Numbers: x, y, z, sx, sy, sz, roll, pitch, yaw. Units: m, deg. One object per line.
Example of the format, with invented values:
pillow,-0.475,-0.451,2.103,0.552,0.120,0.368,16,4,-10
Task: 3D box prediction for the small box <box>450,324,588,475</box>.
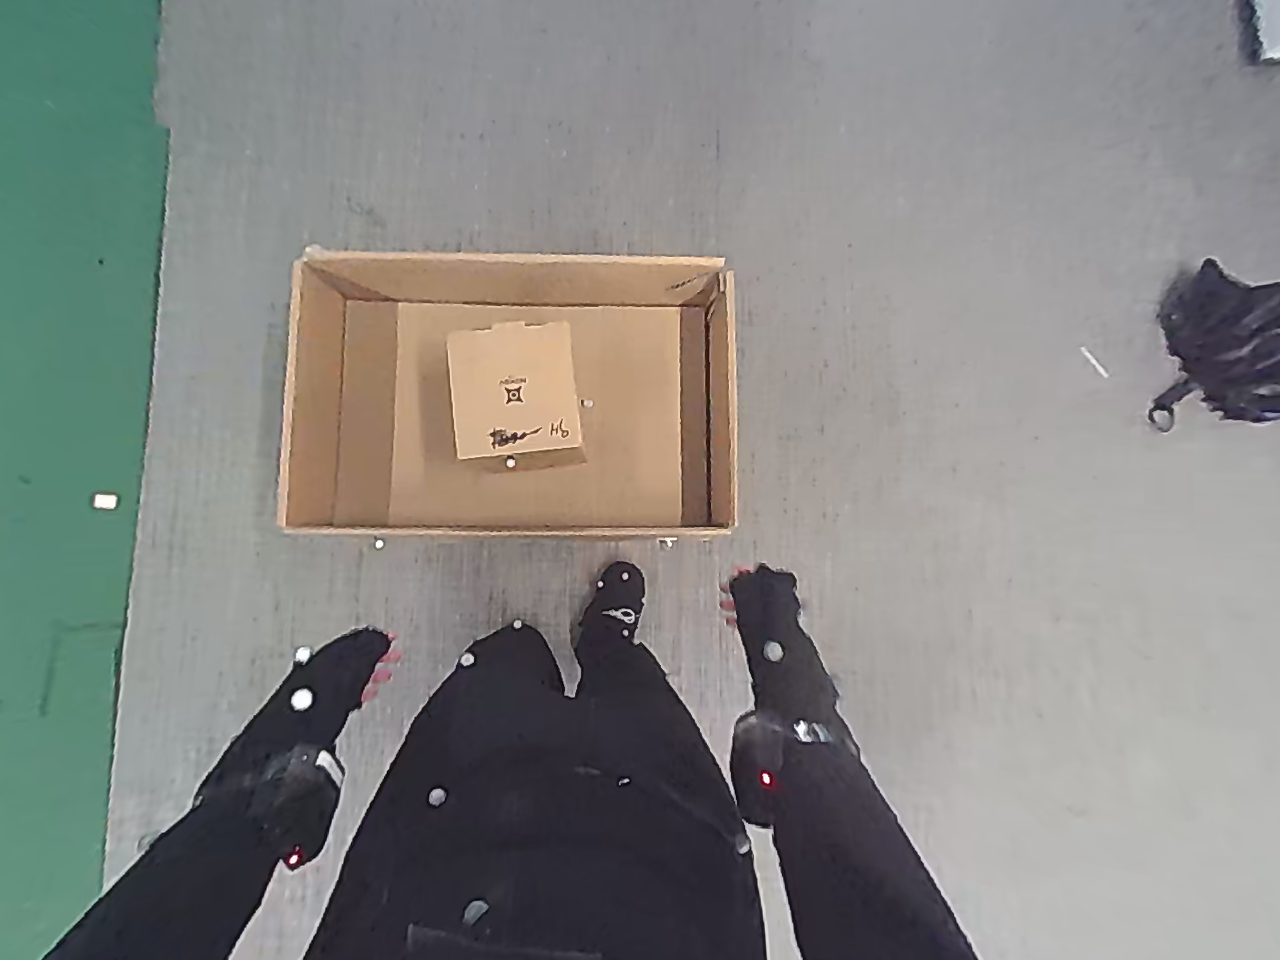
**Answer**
small box,-0.171,-0.110,0.803,0.168,0.176,0.179,-7,84,-2
